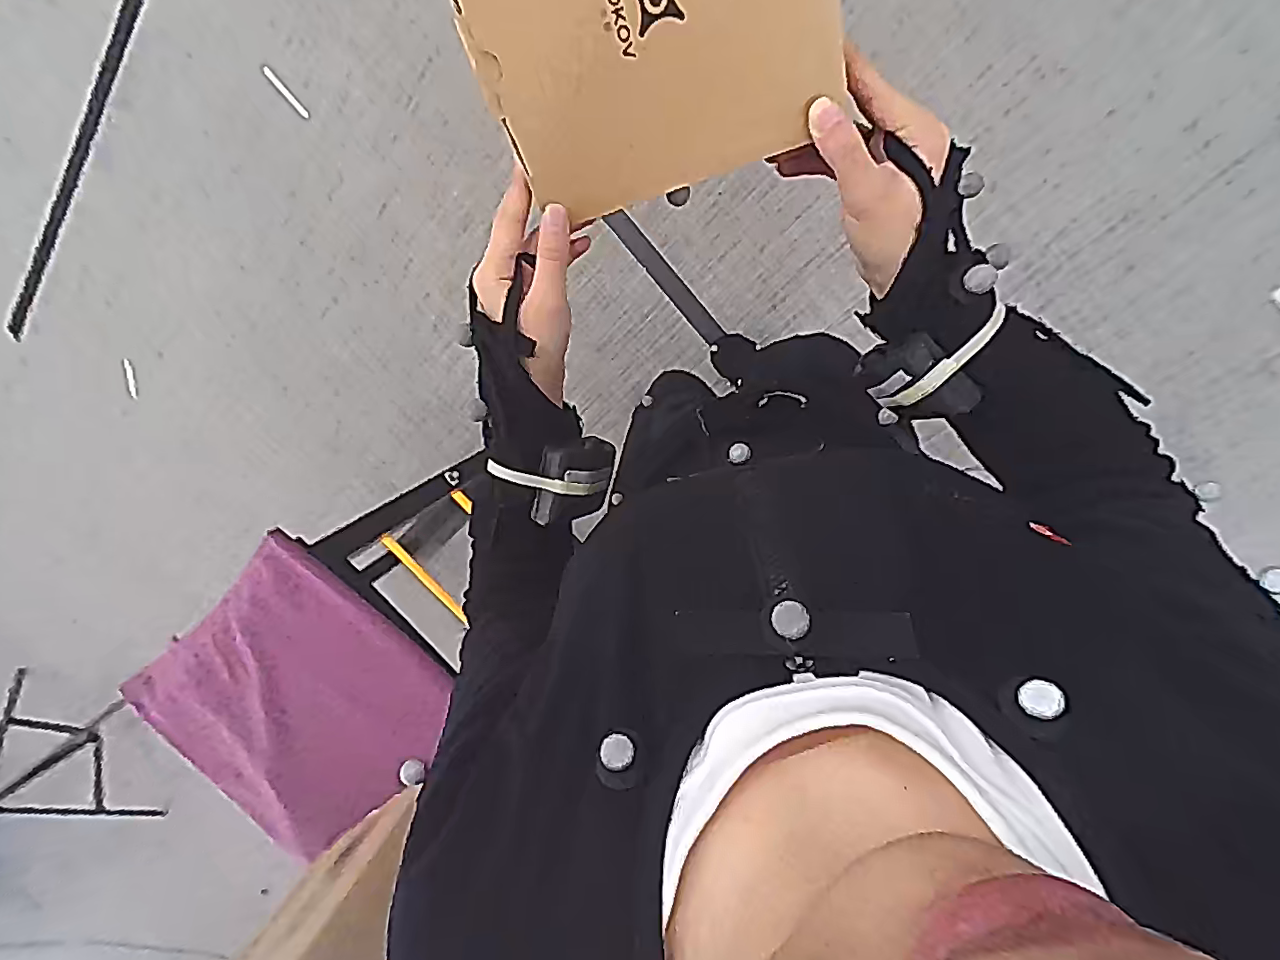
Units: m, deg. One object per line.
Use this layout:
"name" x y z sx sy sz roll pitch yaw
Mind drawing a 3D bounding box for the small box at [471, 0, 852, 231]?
"small box" 0.012 -0.279 0.321 0.179 0.176 0.168 -12 129 13
